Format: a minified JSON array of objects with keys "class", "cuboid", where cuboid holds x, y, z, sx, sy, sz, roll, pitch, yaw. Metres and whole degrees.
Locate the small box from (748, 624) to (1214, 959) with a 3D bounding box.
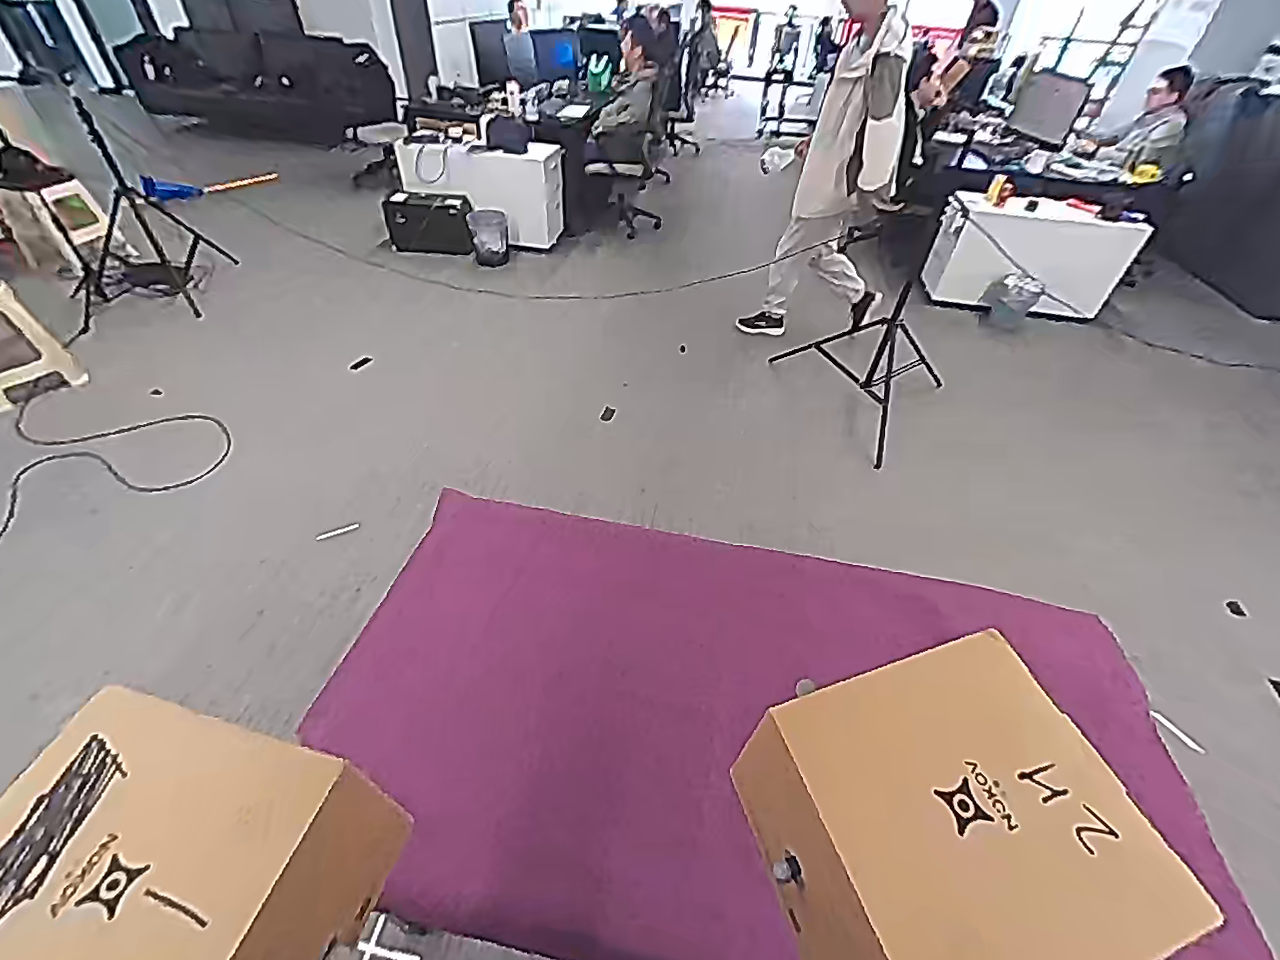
[{"class":"small box","cuboid":[0.187,0.229,0.366,0.179,0.176,0.168,-13,52,-13]}]
